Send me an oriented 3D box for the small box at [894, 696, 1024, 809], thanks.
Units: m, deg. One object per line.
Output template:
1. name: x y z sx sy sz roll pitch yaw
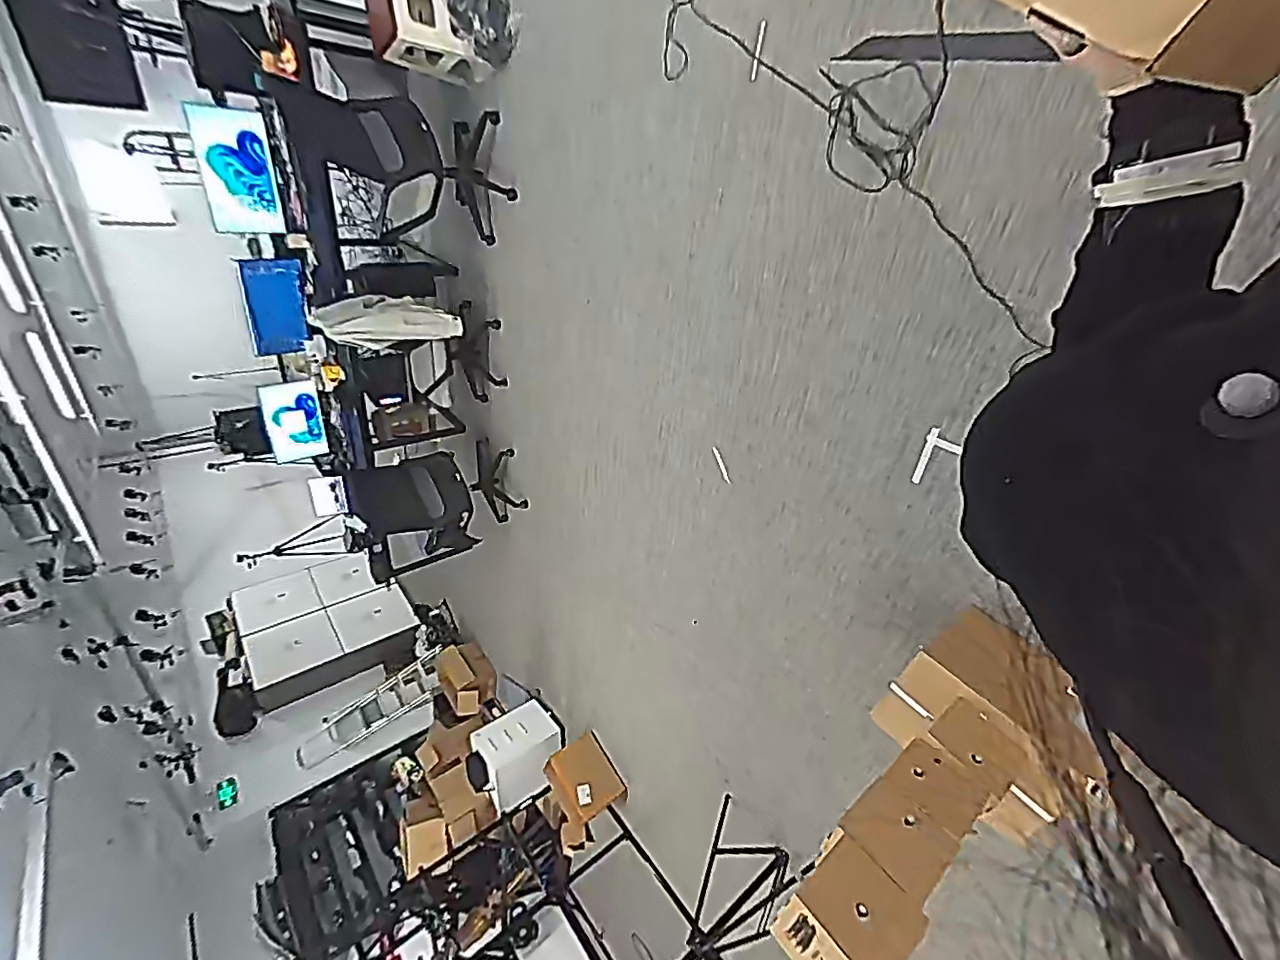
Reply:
1. small box: 0.743 0.645 1.258 0.179 0.176 0.168 44 136 33

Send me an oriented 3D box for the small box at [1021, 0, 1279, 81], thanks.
1. small box: 0.250 -0.297 0.216 0.168 0.176 0.179 57 149 23

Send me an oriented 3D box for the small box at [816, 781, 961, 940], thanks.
1. small box: 0.490 0.739 1.075 0.179 0.176 0.168 36 132 40

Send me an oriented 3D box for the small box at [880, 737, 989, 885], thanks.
1. small box: 0.620 0.702 1.168 0.168 0.176 0.179 30 128 43
